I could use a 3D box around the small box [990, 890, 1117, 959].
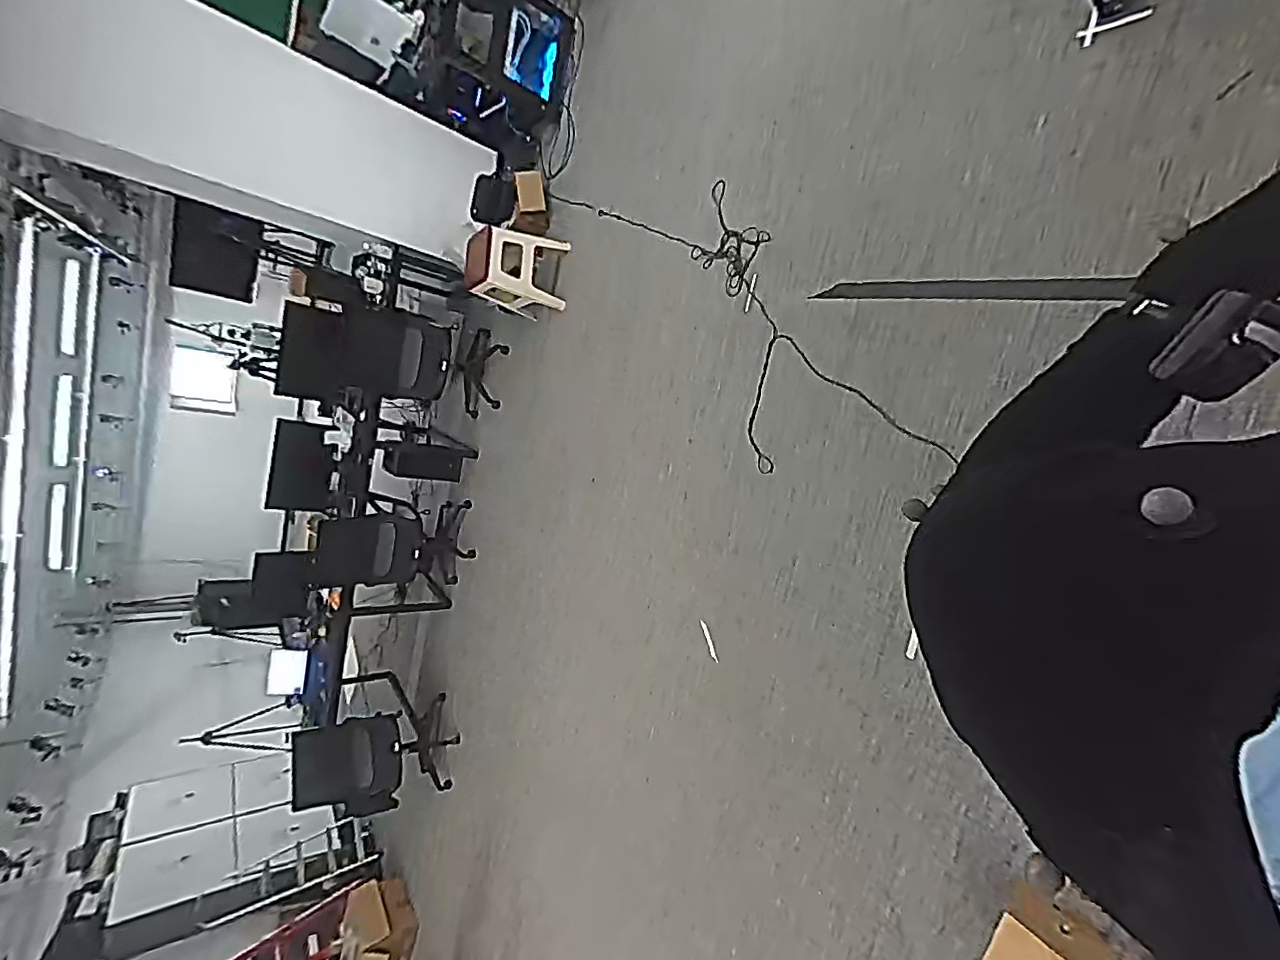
[{"bbox_3d":[0.870,1.025,1.141,0.168,0.176,0.179,28,108,49],"label":"small box"}]
